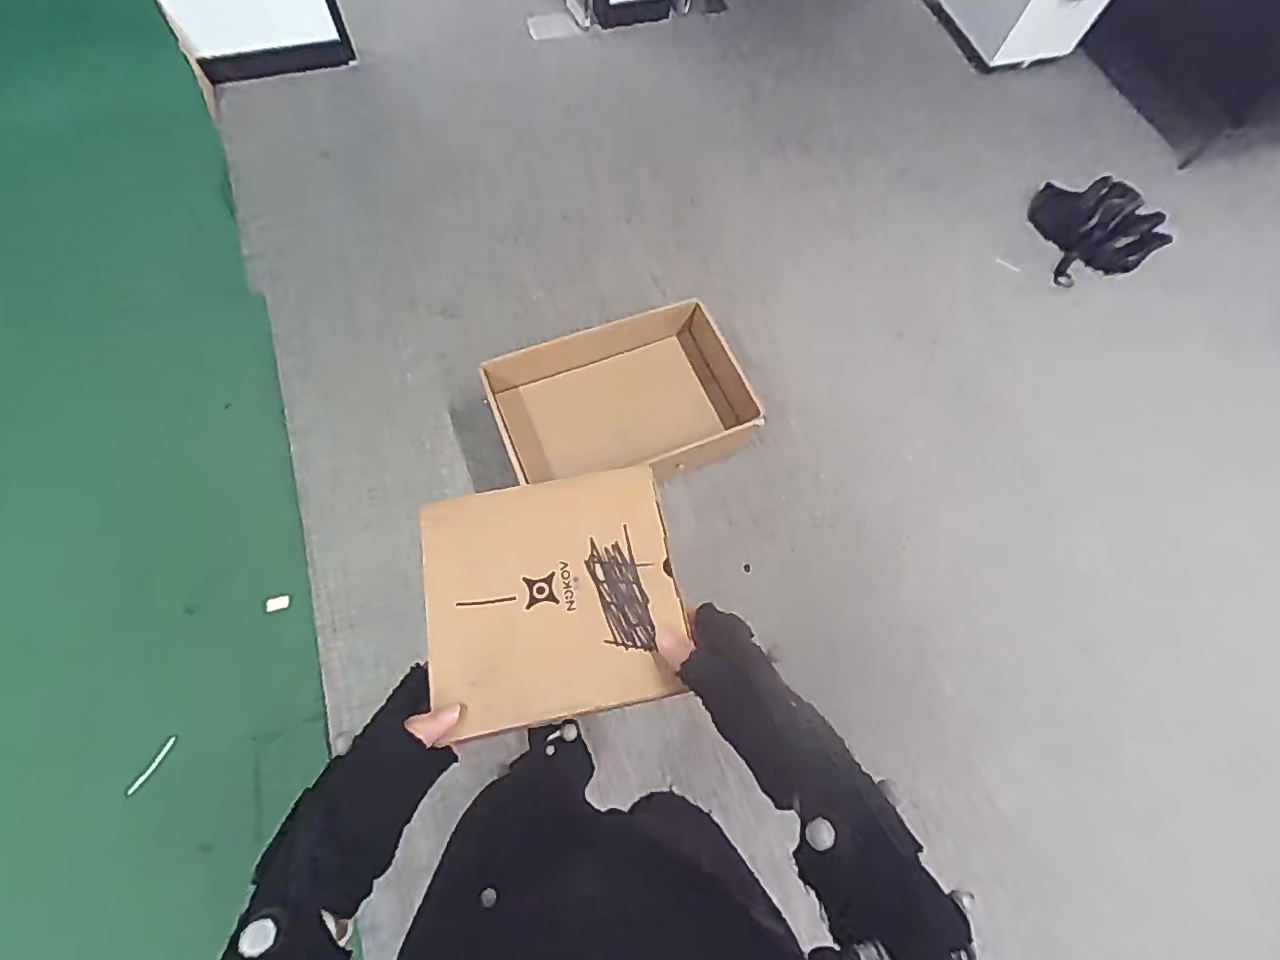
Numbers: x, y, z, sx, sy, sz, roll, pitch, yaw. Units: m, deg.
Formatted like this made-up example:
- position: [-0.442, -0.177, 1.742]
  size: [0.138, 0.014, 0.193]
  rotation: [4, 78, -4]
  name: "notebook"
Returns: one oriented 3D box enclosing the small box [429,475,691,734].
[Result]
- position: [-0.068, 0.112, 0.469]
  size: [0.179, 0.176, 0.168]
  rotation: [-9, 67, -7]
  name: "small box"
